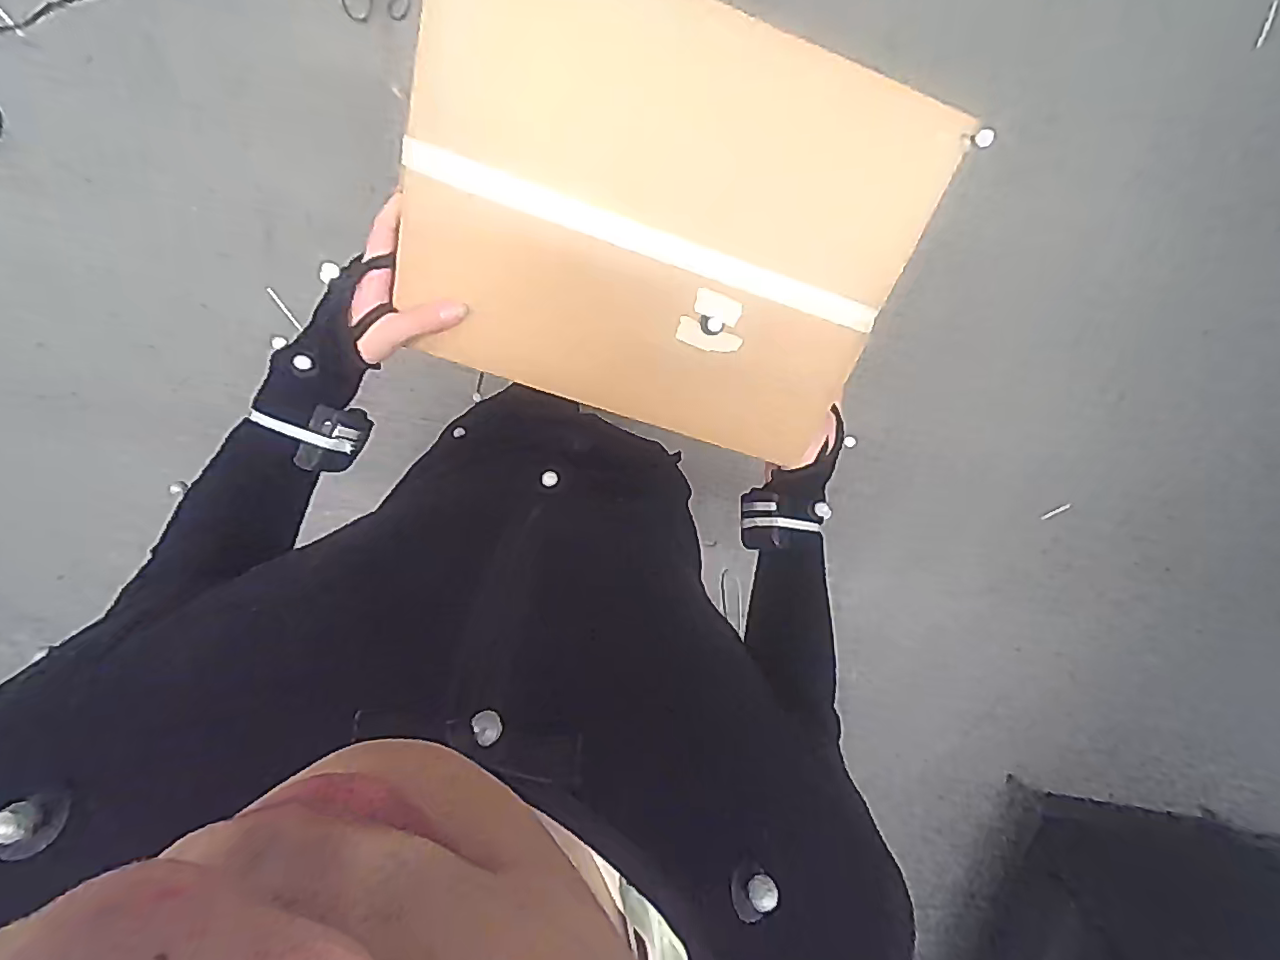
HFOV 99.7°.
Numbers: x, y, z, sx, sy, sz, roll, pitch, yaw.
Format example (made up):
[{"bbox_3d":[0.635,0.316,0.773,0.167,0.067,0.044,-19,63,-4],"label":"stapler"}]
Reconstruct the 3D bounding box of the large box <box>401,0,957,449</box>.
[{"bbox_3d":[0.009,-0.277,0.584,0.408,0.320,0.320,15,118,-9],"label":"large box"}]
